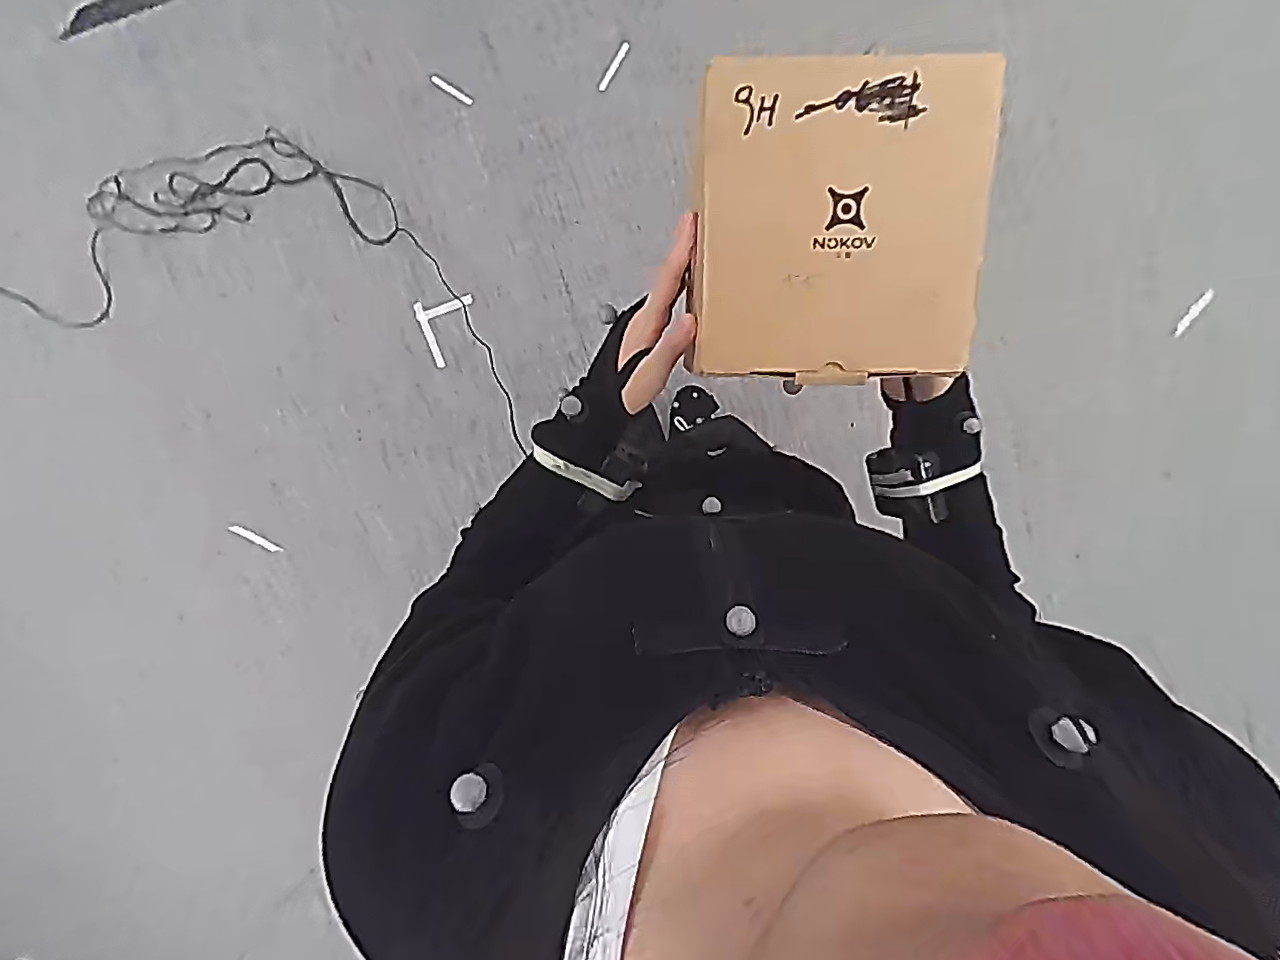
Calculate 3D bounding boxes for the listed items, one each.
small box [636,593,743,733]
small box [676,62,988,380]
[{"bbox_3d":[0.087,0.329,0.997,0.168,0.176,0.179,-9,100,1],"label":"small box"},{"bbox_3d":[0.116,-0.170,0.402,0.168,0.176,0.179,-1,103,0],"label":"small box"}]
